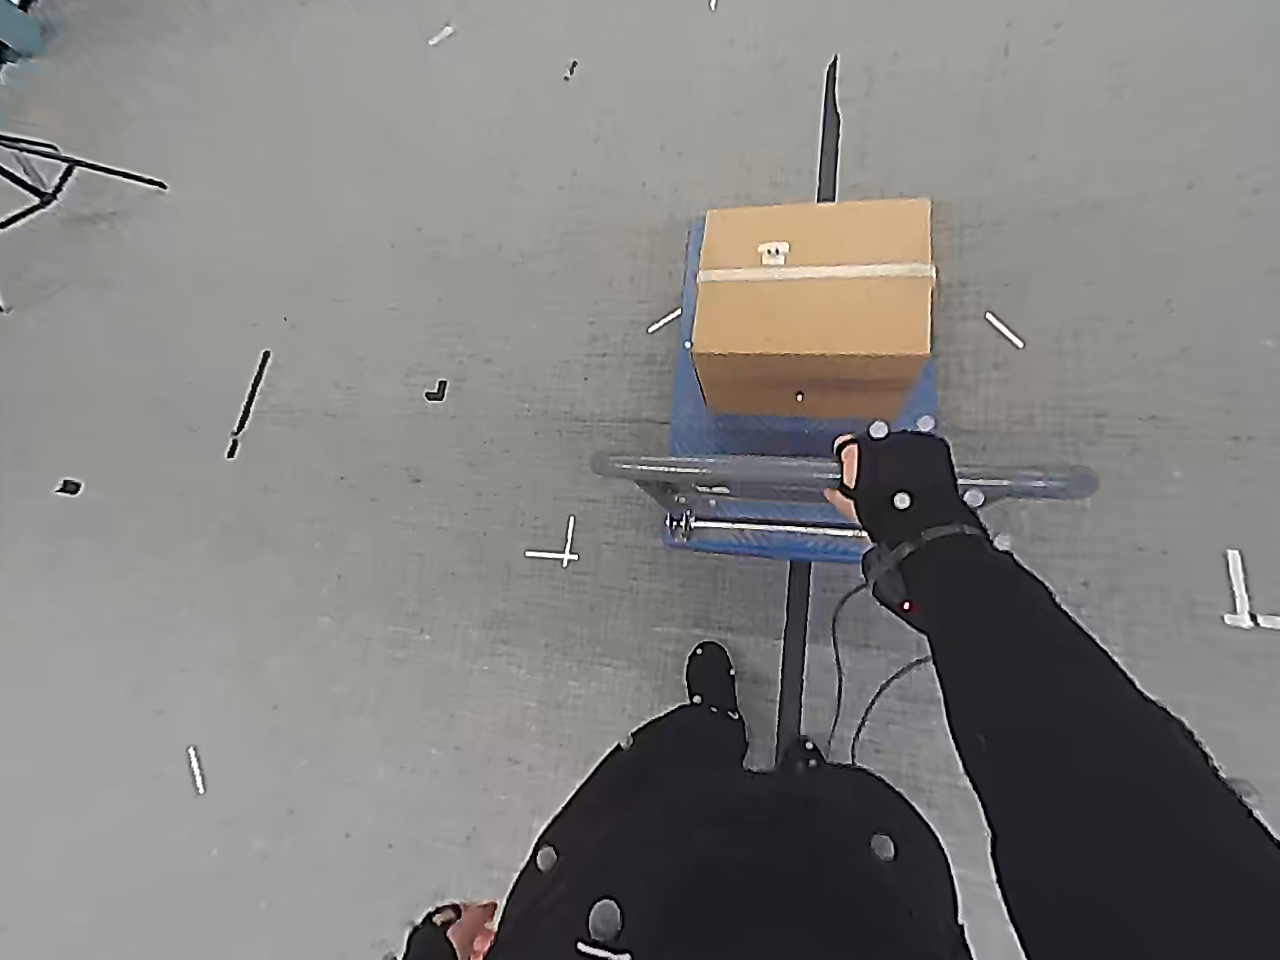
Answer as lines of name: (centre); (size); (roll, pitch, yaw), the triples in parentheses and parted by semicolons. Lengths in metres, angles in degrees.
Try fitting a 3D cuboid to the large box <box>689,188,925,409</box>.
large box: (0.334, -0.344, 1.116); (0.408, 0.320, 0.320); (3, 75, 16)
